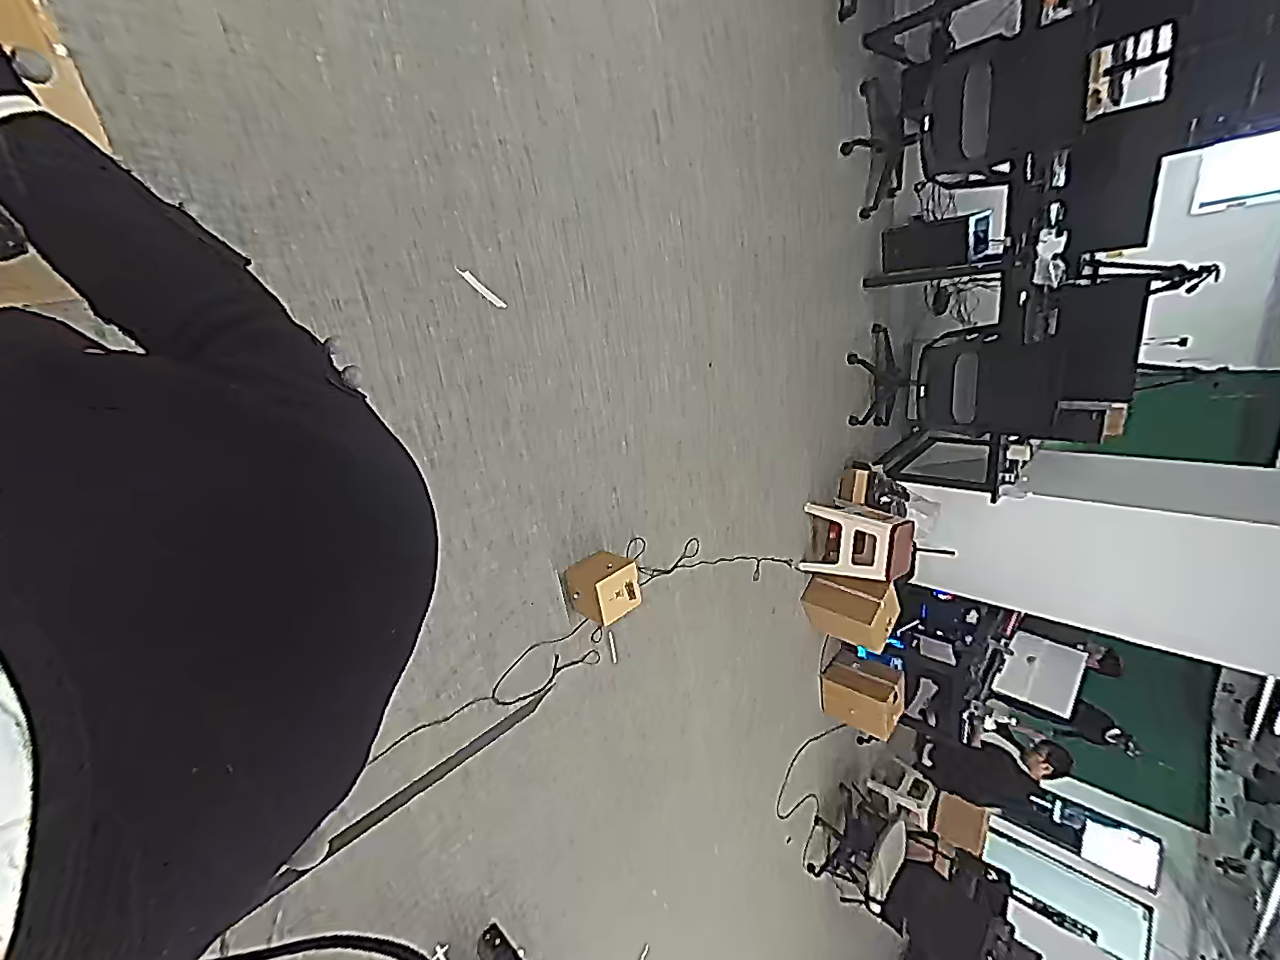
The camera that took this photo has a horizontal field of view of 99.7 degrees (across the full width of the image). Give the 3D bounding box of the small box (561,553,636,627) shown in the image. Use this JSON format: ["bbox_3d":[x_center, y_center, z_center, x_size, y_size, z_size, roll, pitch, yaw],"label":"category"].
[{"bbox_3d":[-0.140,0.366,1.841,0.179,0.176,0.168,-26,115,-40],"label":"small box"}]
